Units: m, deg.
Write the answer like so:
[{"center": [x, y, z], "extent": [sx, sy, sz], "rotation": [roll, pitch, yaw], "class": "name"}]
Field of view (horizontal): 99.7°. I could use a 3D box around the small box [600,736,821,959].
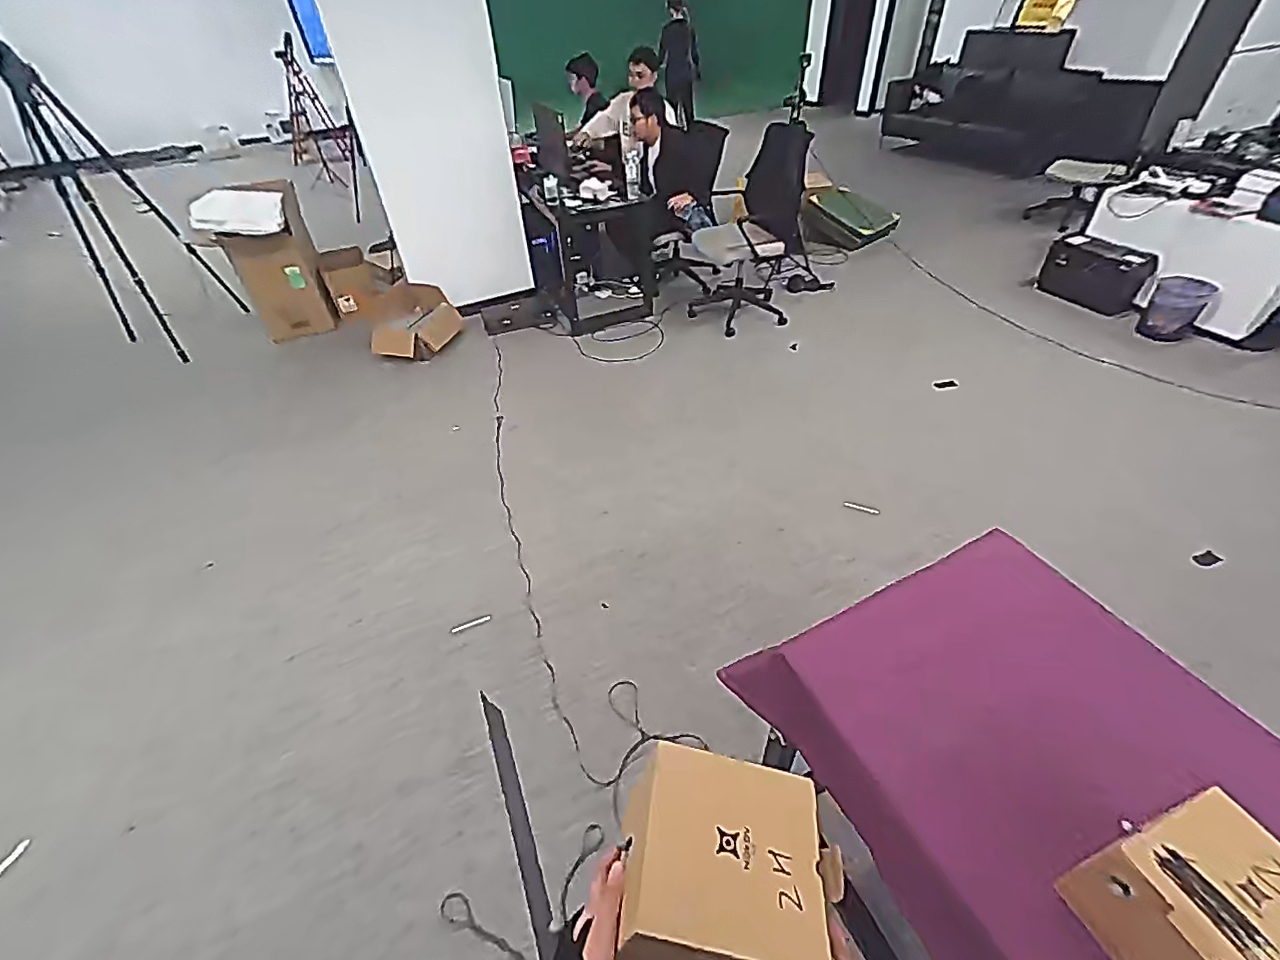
[{"center": [0.065, 0.404, 0.567], "extent": [0.179, 0.176, 0.168], "rotation": [15, 39, -2], "class": "small box"}]
